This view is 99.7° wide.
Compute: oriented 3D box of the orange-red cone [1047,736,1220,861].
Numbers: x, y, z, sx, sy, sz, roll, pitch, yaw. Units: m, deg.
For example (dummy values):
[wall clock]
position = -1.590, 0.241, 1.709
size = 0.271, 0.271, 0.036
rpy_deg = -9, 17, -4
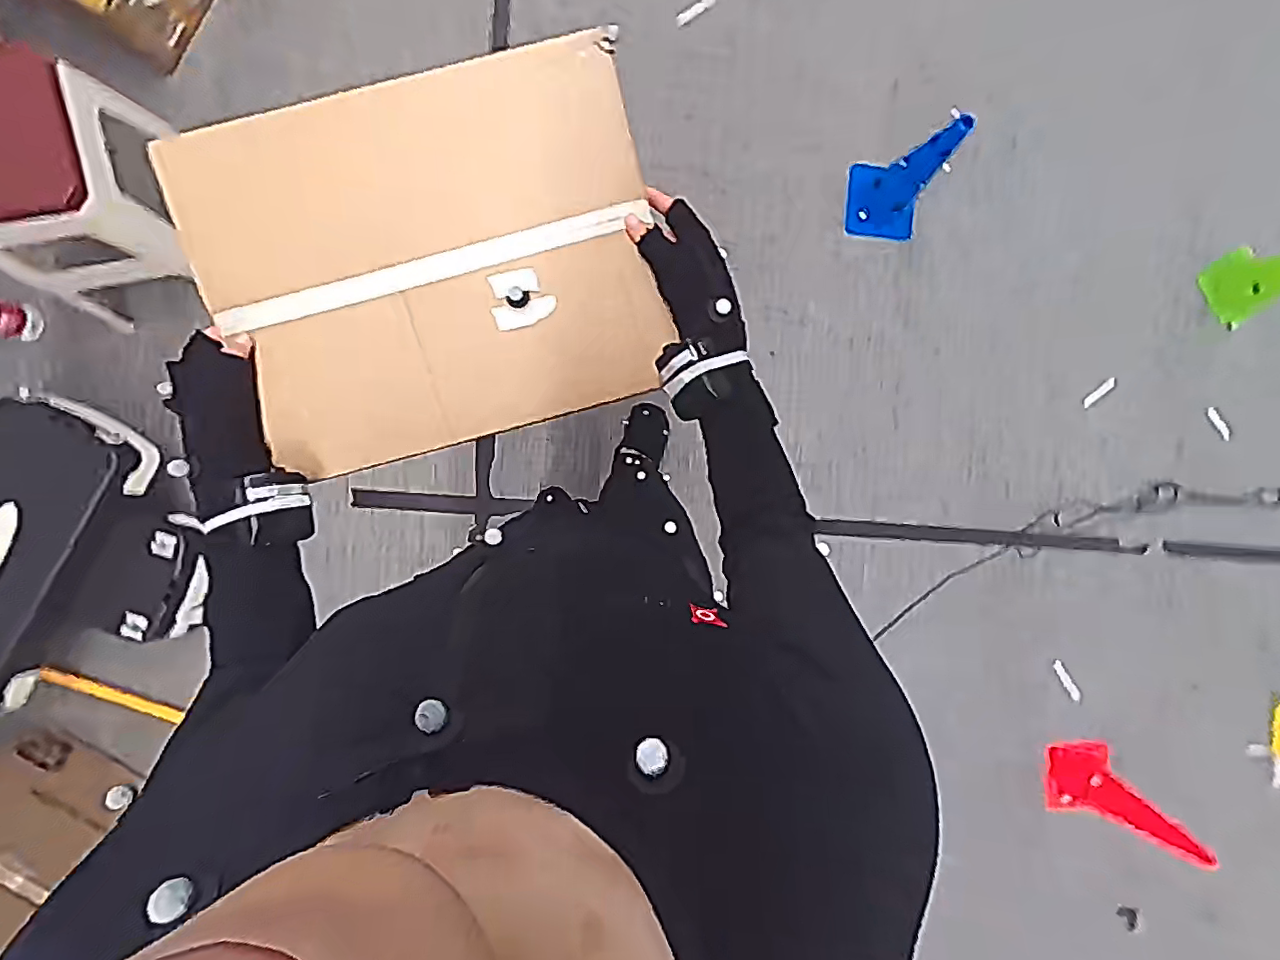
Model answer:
[orange-red cone]
position = 1.325, 0.866, 1.438
size = 0.199, 0.360, 0.198
rpy_deg = 0, 92, -6

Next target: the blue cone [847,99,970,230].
[blue cone]
position = 0.691, -0.805, 1.364
size = 0.193, 0.380, 0.192
rpy_deg = 6, 90, -5

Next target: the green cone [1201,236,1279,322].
[green cone]
position = 1.801, -0.596, 1.437
size = 0.200, 0.368, 0.202
rpy_deg = -35, 92, -3
